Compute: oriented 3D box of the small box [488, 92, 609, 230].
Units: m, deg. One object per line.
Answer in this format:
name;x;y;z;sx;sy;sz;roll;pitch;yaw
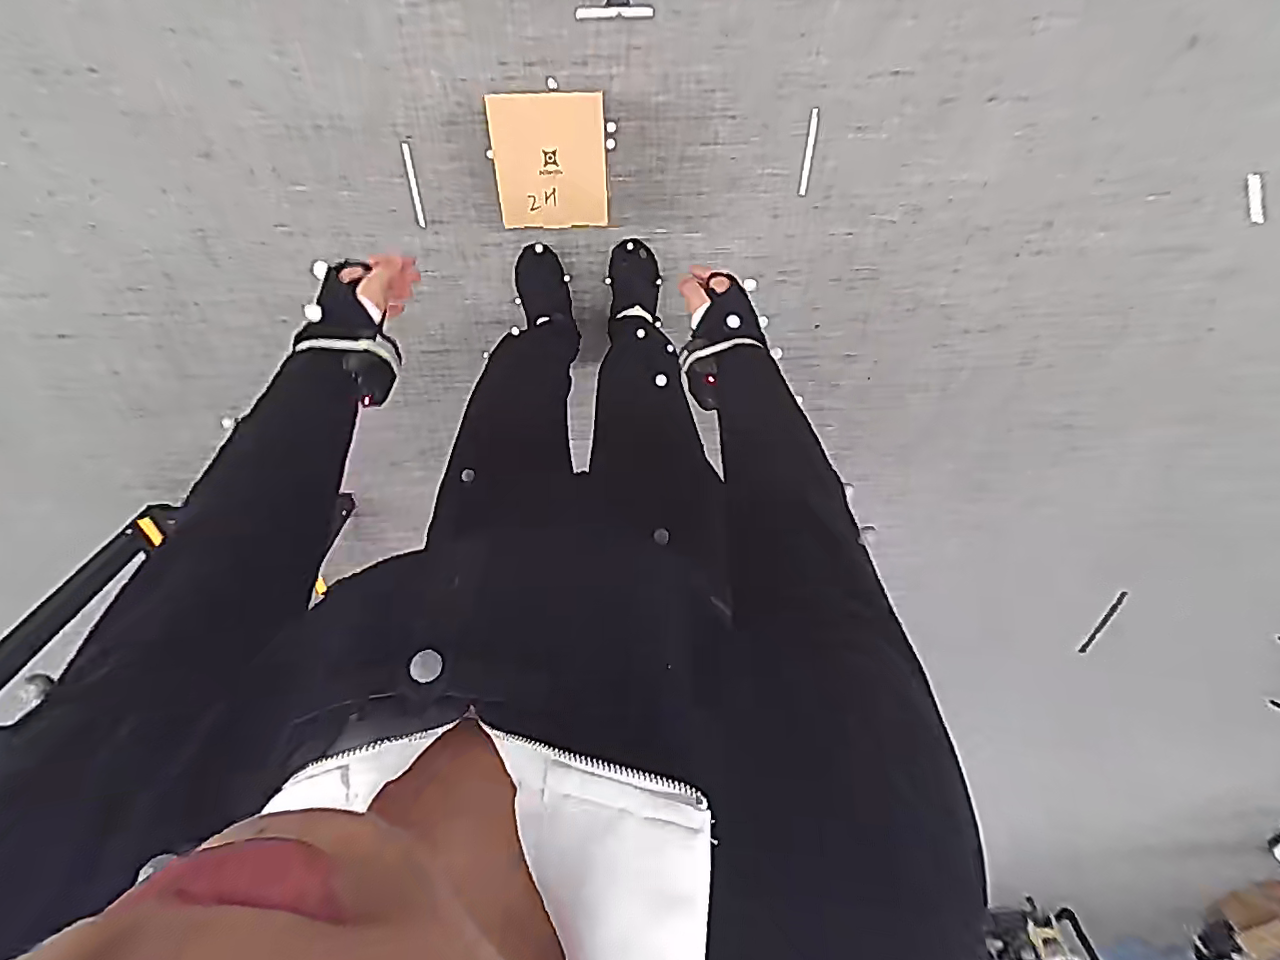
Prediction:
small box;-0.134;-0.507;0.855;0.168;0.176;0.179;-2;127;-2
